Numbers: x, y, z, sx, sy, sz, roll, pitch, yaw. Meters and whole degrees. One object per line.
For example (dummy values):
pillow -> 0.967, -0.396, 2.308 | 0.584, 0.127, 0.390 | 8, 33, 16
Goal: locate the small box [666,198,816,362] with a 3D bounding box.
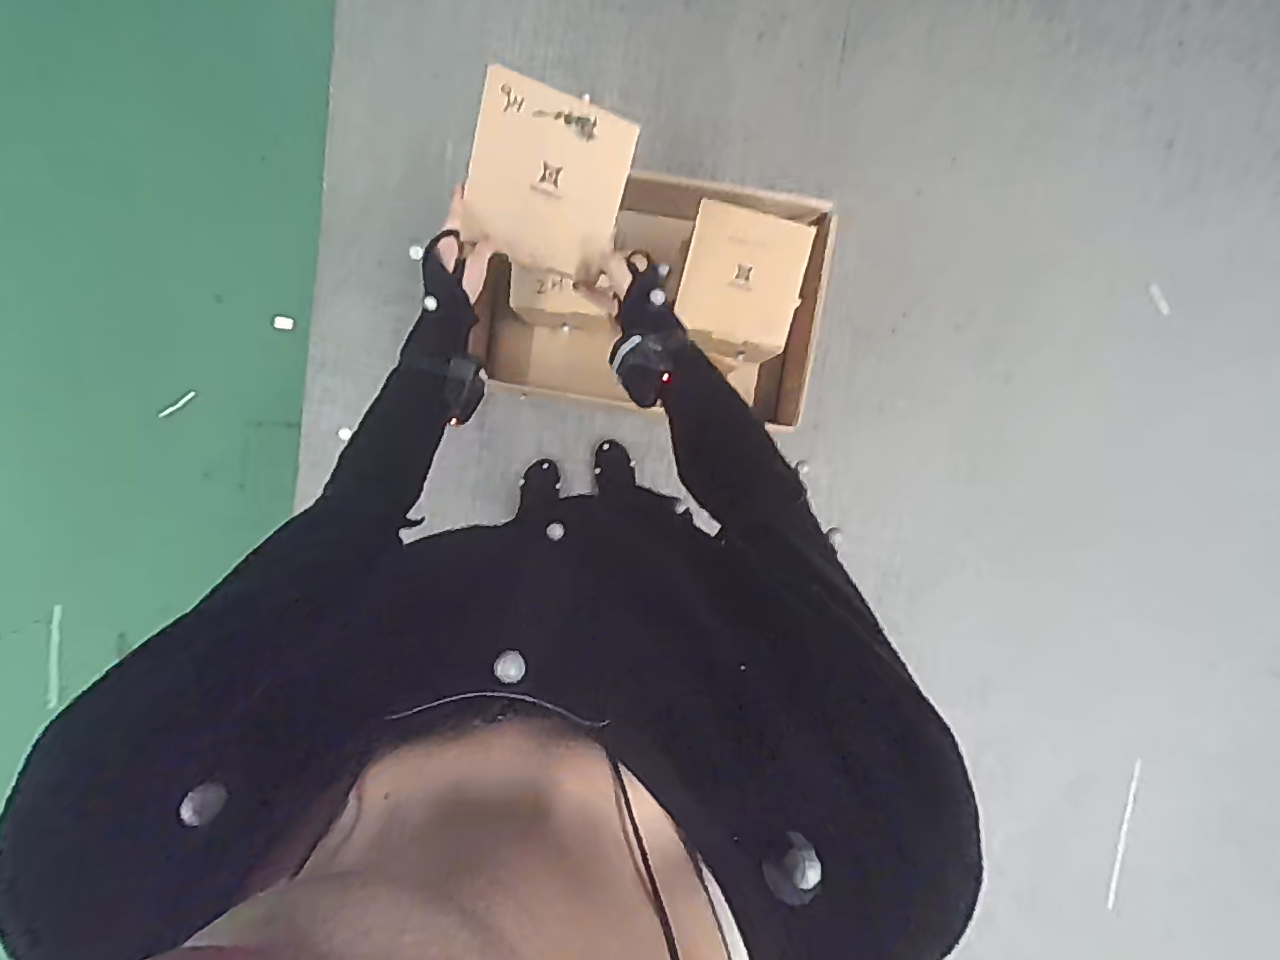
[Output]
small box -> 0.139, -0.286, 0.819 | 0.168, 0.176, 0.179 | 14, 95, -3

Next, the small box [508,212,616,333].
small box -> -0.132, -0.374, 0.969 | 0.168, 0.176, 0.179 | 6, 96, -1

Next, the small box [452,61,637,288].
small box -> -0.119, -0.352, 0.658 | 0.168, 0.176, 0.179 | 13, 109, -18
